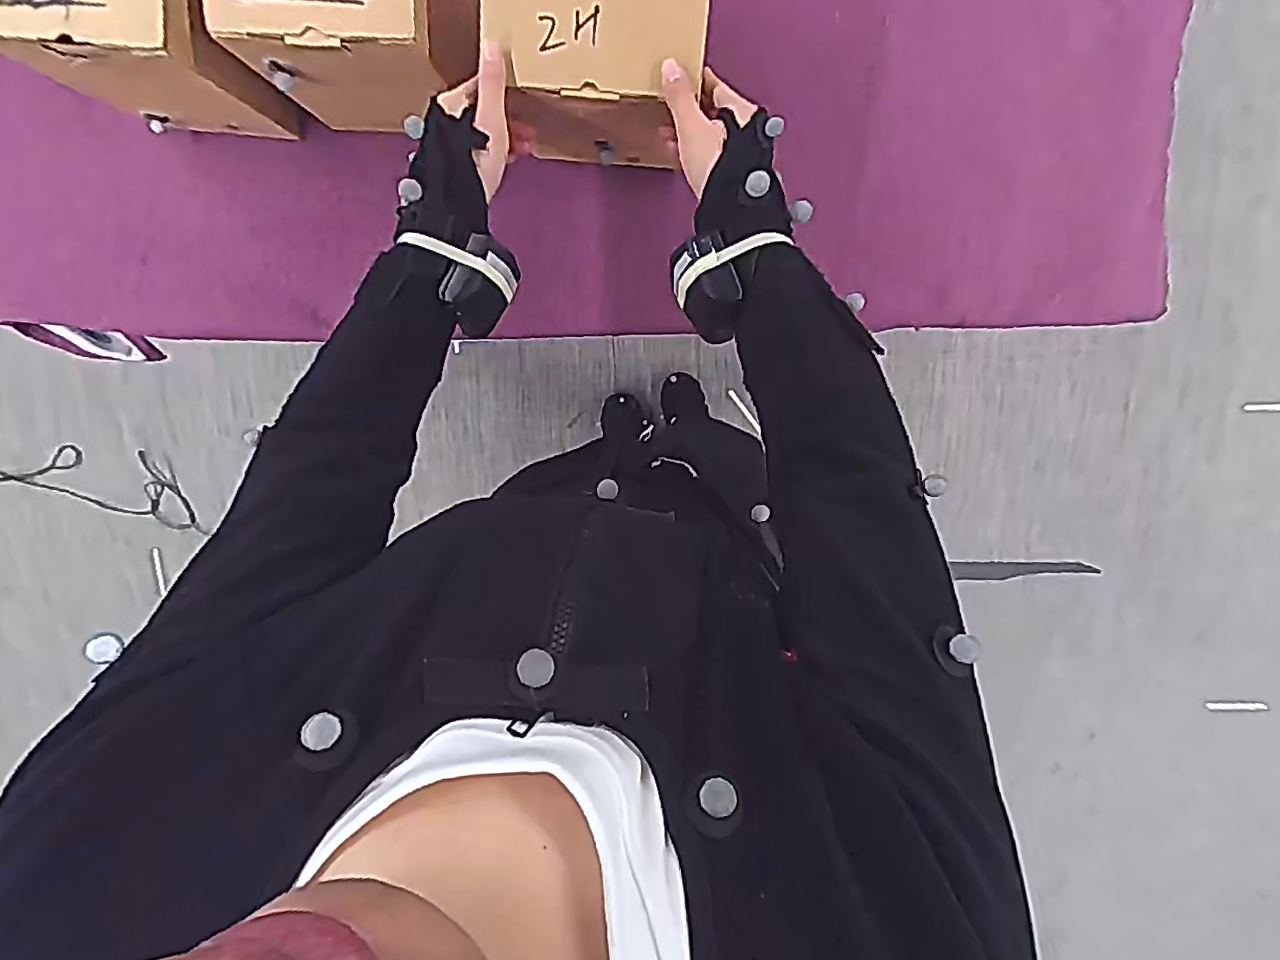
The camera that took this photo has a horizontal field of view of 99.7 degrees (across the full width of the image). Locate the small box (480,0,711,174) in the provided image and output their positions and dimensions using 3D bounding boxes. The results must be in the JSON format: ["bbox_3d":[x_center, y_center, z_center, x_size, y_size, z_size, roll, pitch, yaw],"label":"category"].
[{"bbox_3d":[-0.026,-0.387,0.457,0.168,0.176,0.179,6,105,2],"label":"small box"}]
